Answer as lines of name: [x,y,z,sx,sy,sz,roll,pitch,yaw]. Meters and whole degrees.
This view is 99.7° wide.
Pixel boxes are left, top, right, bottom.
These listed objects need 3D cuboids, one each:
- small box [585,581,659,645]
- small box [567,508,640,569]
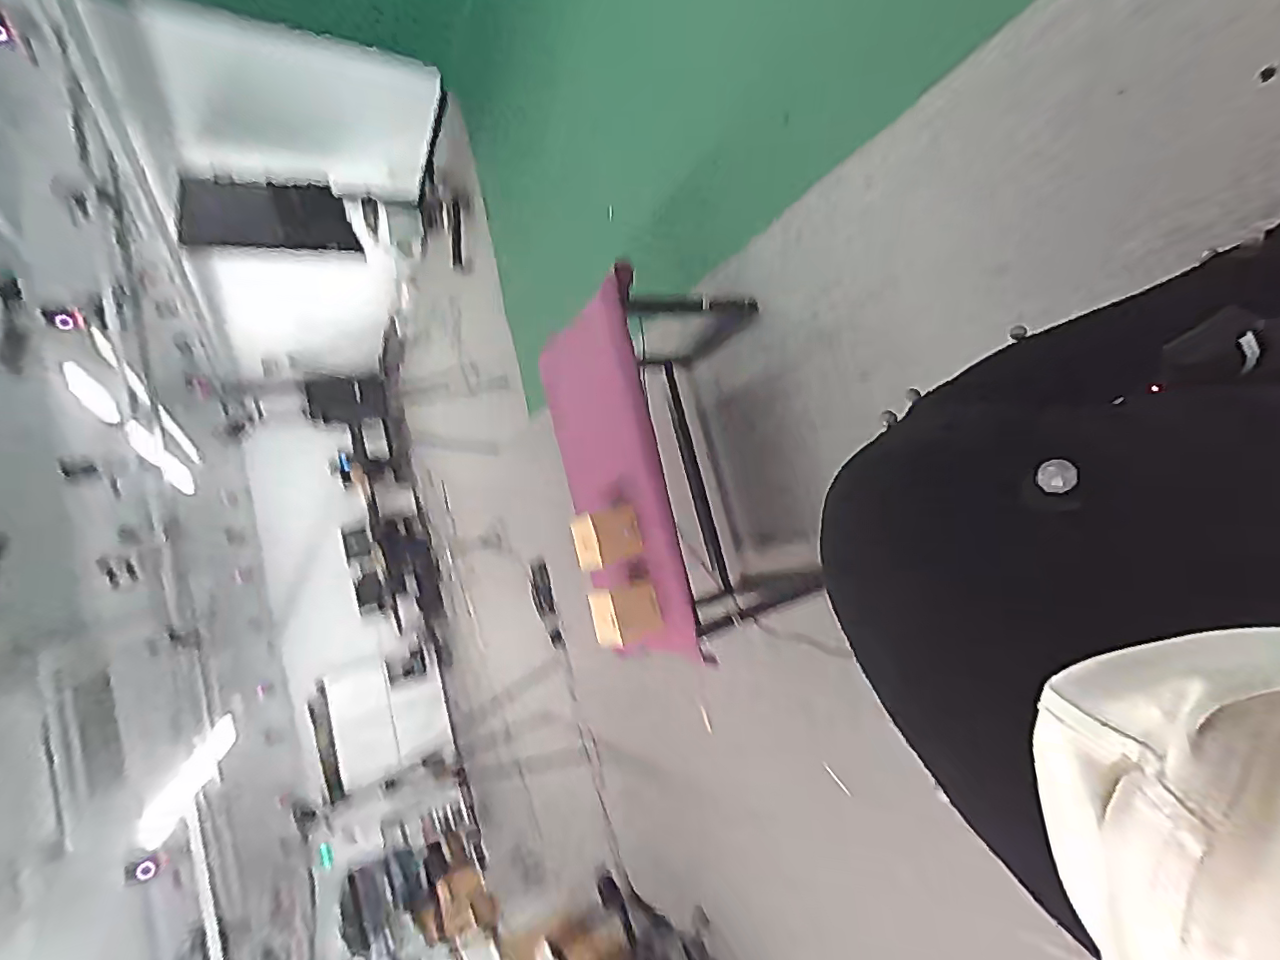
small box: [-0.061,0.441,1.806,0.179,0.176,0.168,-24,79,57]
small box: [-0.125,0.199,1.833,0.179,0.176,0.168,-24,79,57]
